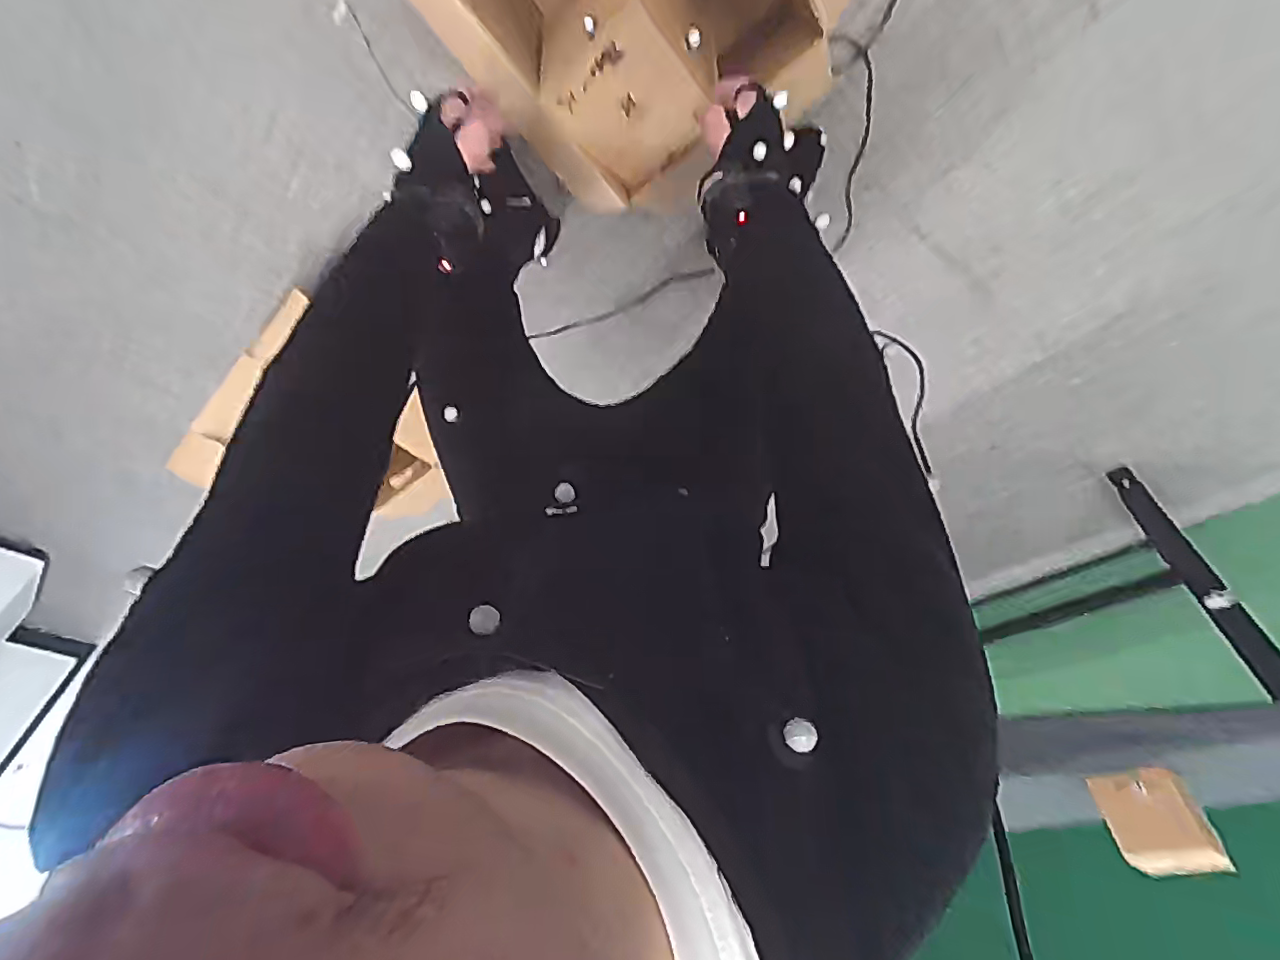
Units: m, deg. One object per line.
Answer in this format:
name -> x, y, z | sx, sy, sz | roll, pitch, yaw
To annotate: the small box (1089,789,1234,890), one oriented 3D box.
small box -> 1.213, 0.841, 1.267 | 0.179, 0.176, 0.168 | 32, 129, -26
